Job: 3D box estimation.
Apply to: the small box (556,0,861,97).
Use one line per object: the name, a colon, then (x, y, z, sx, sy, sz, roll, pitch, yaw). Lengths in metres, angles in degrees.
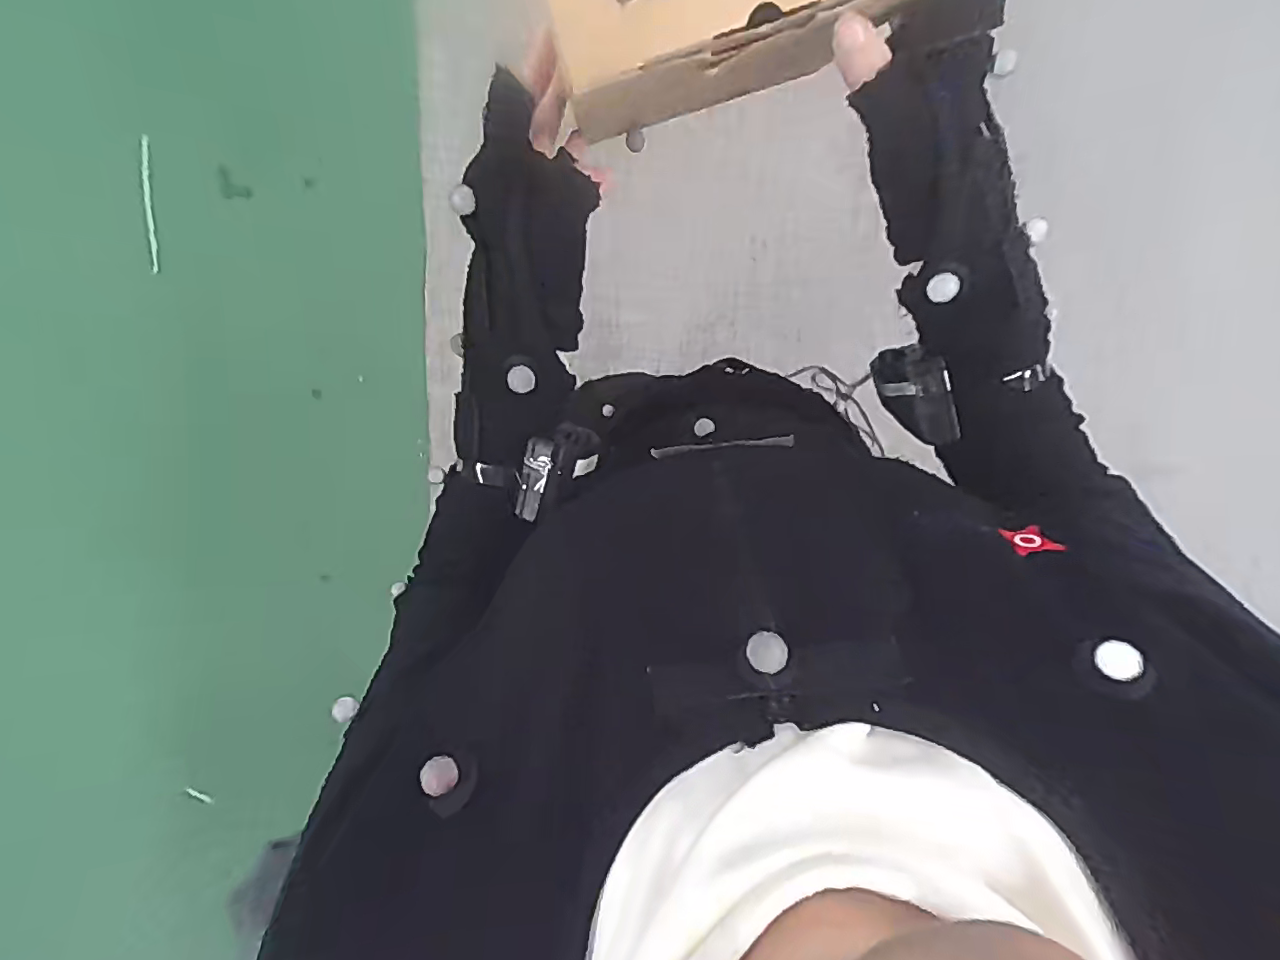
small box: (0.026, -0.308, 0.253, 0.168, 0.176, 0.179, -14, 114, 3)
